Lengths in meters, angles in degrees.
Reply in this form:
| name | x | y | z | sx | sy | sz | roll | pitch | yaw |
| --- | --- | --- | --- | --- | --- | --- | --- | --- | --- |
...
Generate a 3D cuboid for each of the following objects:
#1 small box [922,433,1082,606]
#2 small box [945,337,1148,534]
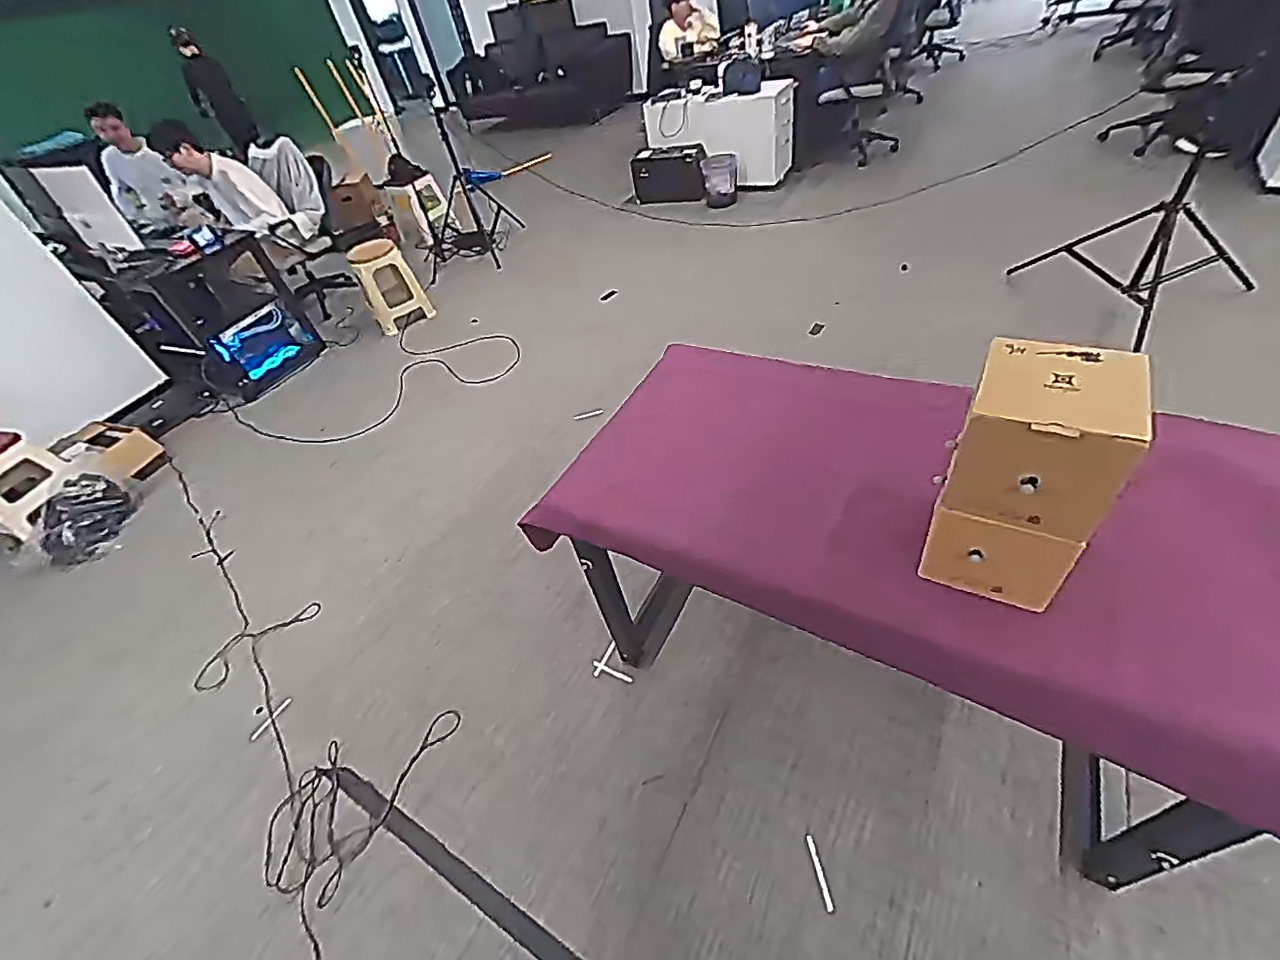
| name | x | y | z | sx | sy | sz | roll | pitch | yaw |
| --- | --- | --- | --- | --- | --- | --- | --- | --- | --- |
| small box | 0.537 | 0.059 | 0.810 | 0.168 | 0.176 | 0.179 | 16 | 51 | 27 |
| small box | 0.512 | -0.058 | 0.697 | 0.168 | 0.176 | 0.179 | 17 | 52 | 28 |
